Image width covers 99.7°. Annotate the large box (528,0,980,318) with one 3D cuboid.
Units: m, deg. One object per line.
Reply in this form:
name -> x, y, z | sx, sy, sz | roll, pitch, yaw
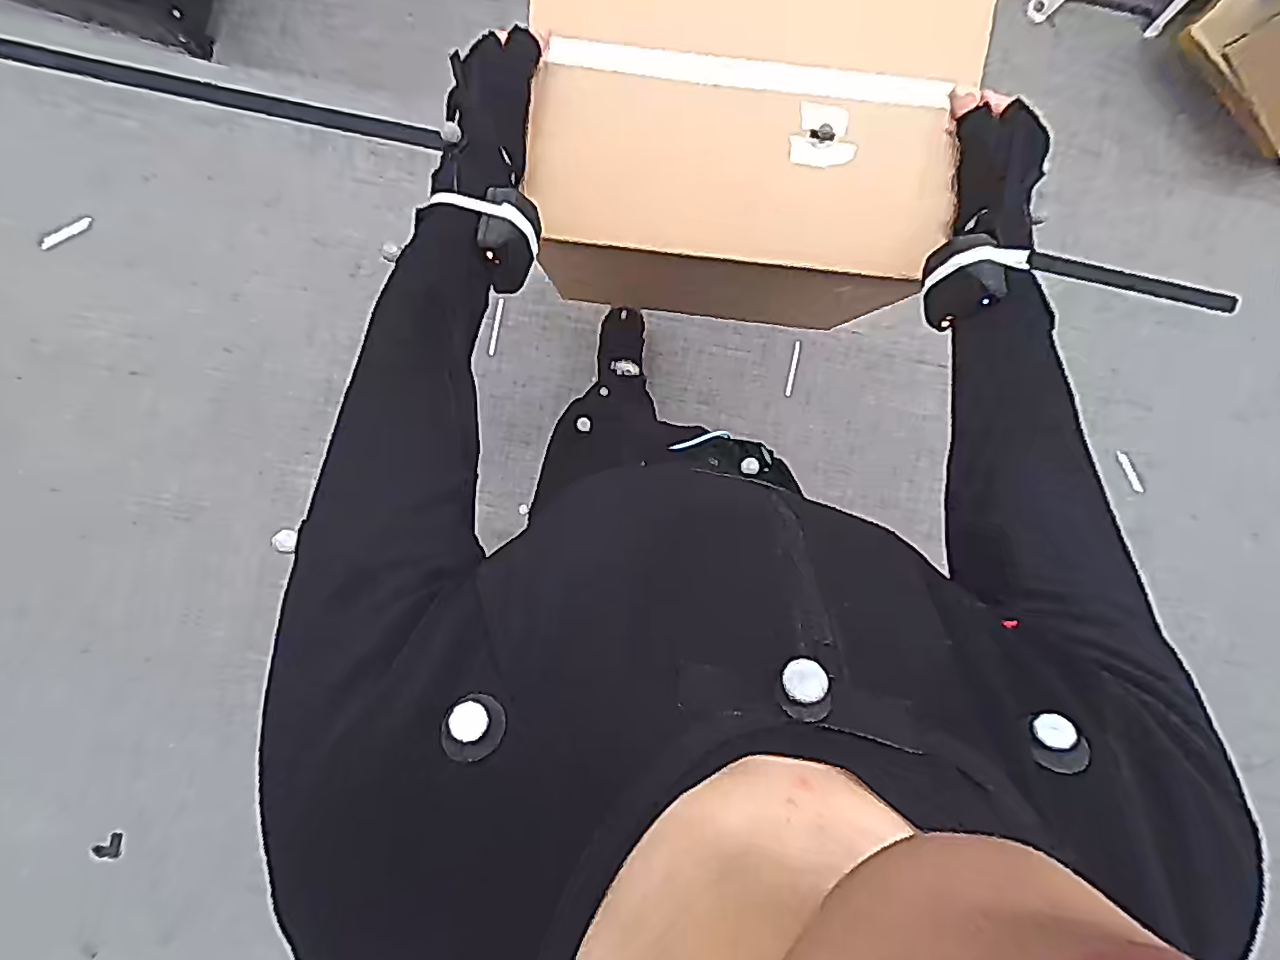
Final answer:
large box -> 0.099, -0.391, 0.643 | 0.408, 0.320, 0.320 | 6, 98, -2
